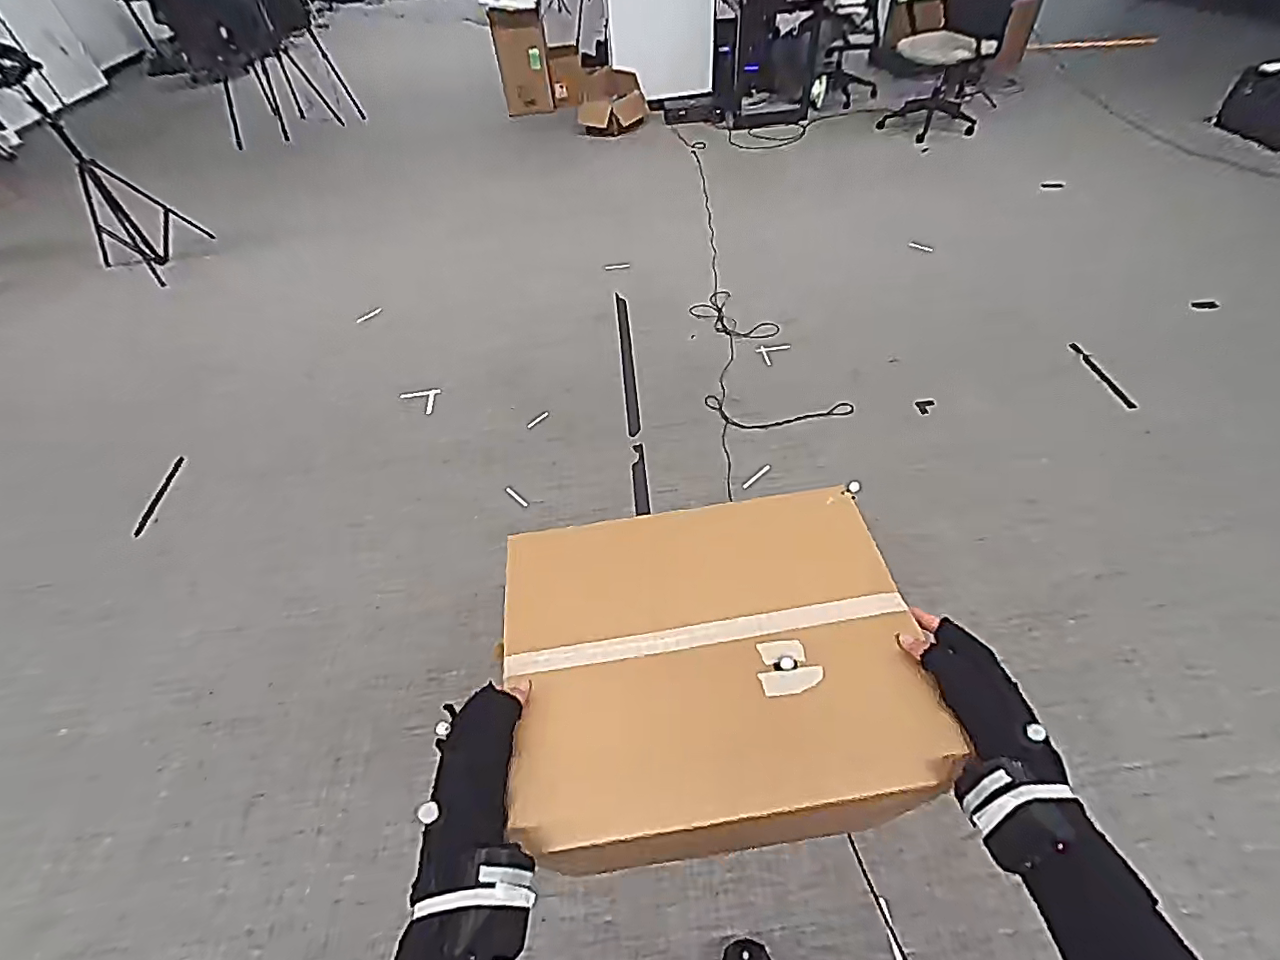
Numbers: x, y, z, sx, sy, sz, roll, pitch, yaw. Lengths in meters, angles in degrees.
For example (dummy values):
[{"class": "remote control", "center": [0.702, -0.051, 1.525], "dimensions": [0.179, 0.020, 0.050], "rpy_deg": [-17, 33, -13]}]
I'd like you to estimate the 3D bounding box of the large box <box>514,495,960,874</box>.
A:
[{"class": "large box", "center": [0.076, 0.259, 0.675], "dimensions": [0.408, 0.320, 0.320], "rpy_deg": [-9, 52, -3]}]
